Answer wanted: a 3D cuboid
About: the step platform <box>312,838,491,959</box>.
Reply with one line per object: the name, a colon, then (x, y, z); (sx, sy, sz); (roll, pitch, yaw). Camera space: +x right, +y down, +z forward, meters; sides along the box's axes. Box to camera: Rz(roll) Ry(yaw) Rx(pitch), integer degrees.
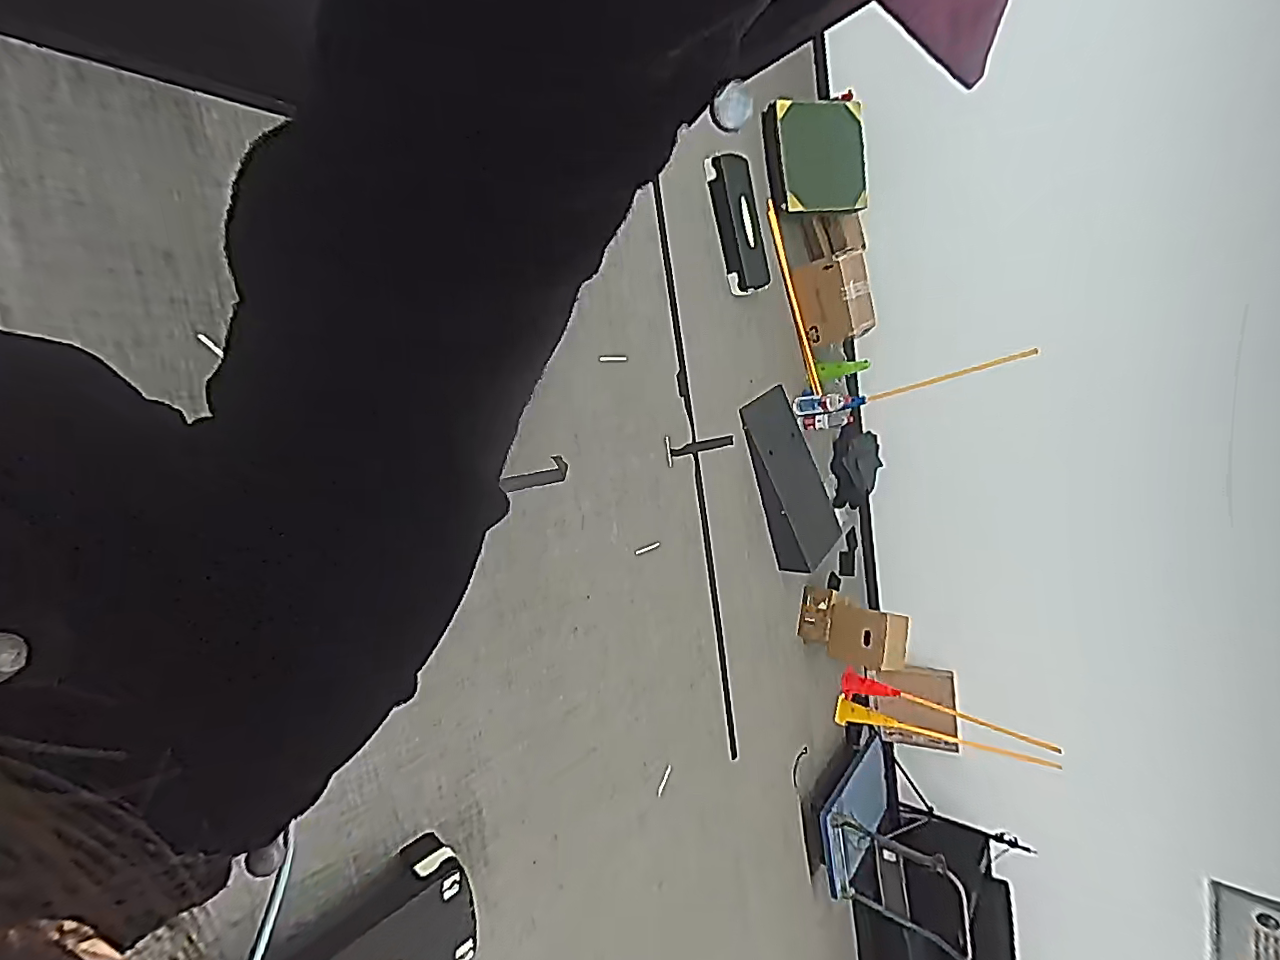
step platform: (-0.696, 1.201, 1.304); (0.684, 0.204, 0.286); (-7, 93, -48)
